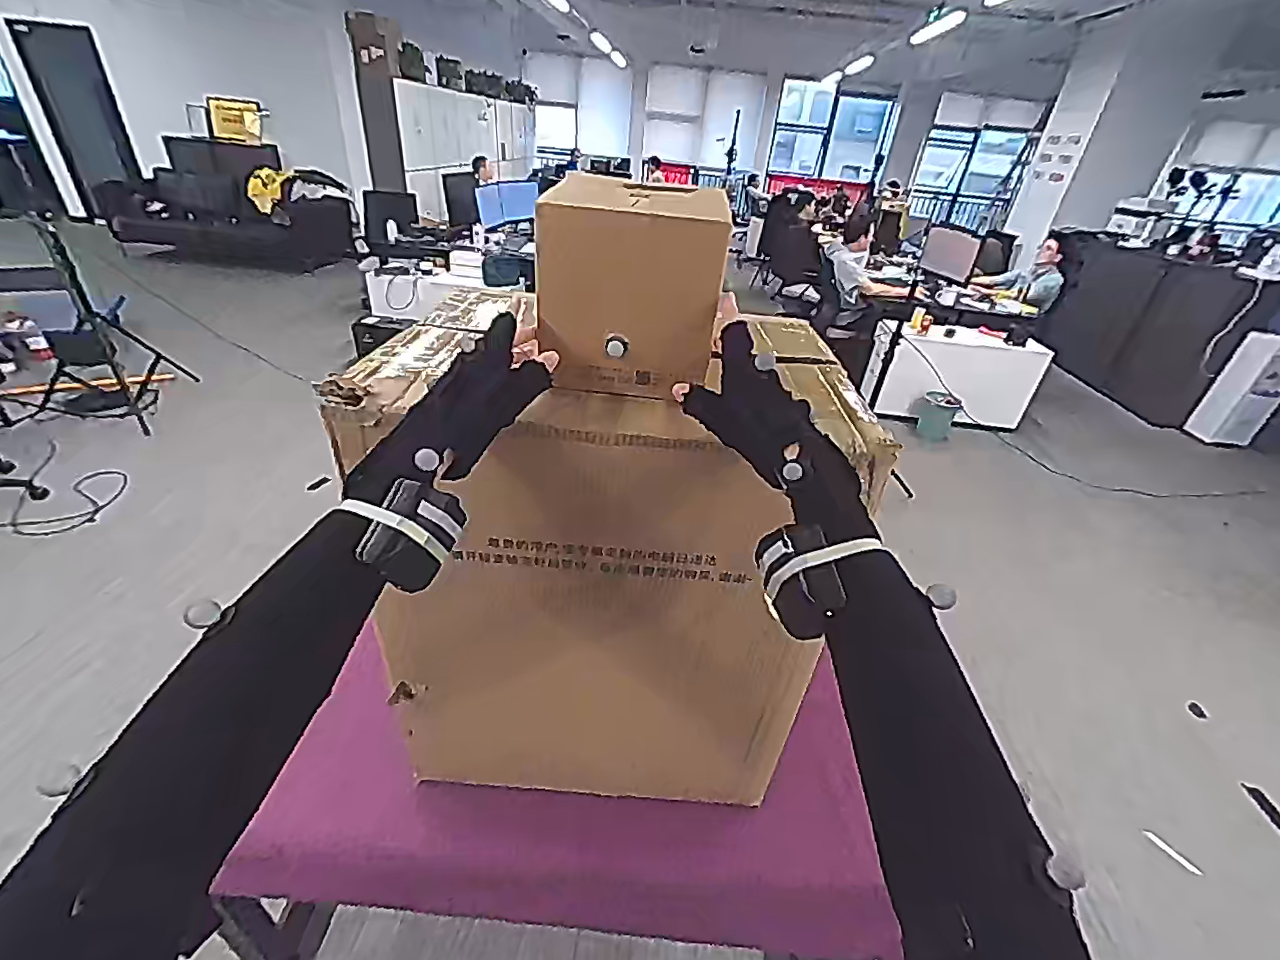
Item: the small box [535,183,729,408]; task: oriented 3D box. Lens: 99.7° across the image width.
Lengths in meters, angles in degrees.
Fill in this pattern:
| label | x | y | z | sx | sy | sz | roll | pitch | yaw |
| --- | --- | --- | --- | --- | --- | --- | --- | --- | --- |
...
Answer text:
| label | x | y | z | sx | sy | sz | roll | pitch | yaw |
| --- | --- | --- | --- | --- | --- | --- | --- | --- | --- |
| small box | -0.006 | -0.193 | 0.556 | 0.168 | 0.176 | 0.179 | 6 | 35 | 2 |
